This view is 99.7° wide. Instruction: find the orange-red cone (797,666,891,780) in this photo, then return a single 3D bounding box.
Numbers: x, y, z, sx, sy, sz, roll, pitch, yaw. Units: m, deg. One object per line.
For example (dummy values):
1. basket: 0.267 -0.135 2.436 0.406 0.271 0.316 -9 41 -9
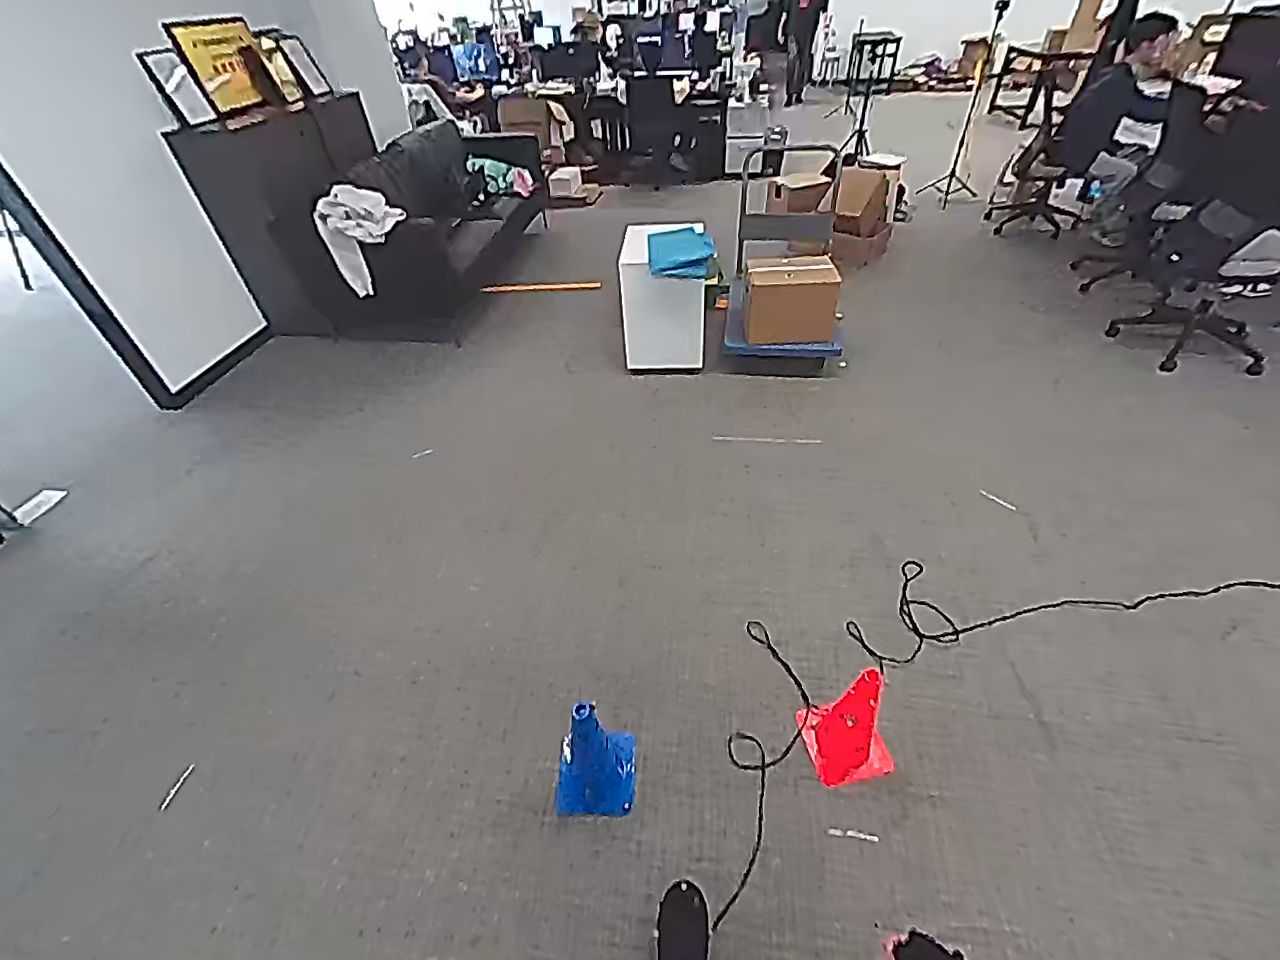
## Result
1. orange-red cone: 0.532 0.561 1.329 0.198 0.360 0.199 -10 44 -5
